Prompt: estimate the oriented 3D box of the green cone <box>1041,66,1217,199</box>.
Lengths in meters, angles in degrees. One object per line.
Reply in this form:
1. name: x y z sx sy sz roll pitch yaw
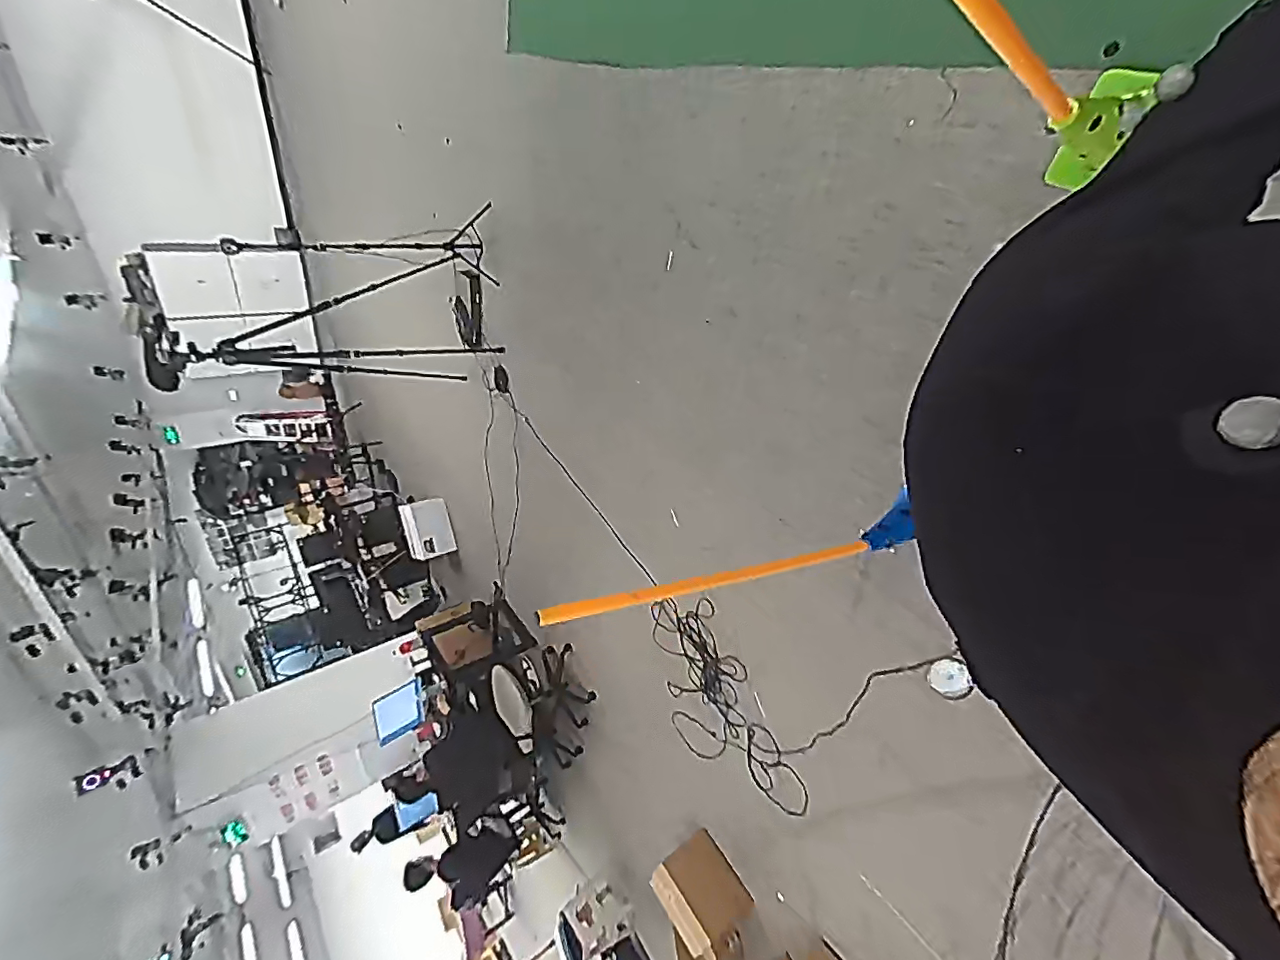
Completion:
1. green cone: 0.807 -0.636 0.956 0.202 0.368 0.200 44 136 36
